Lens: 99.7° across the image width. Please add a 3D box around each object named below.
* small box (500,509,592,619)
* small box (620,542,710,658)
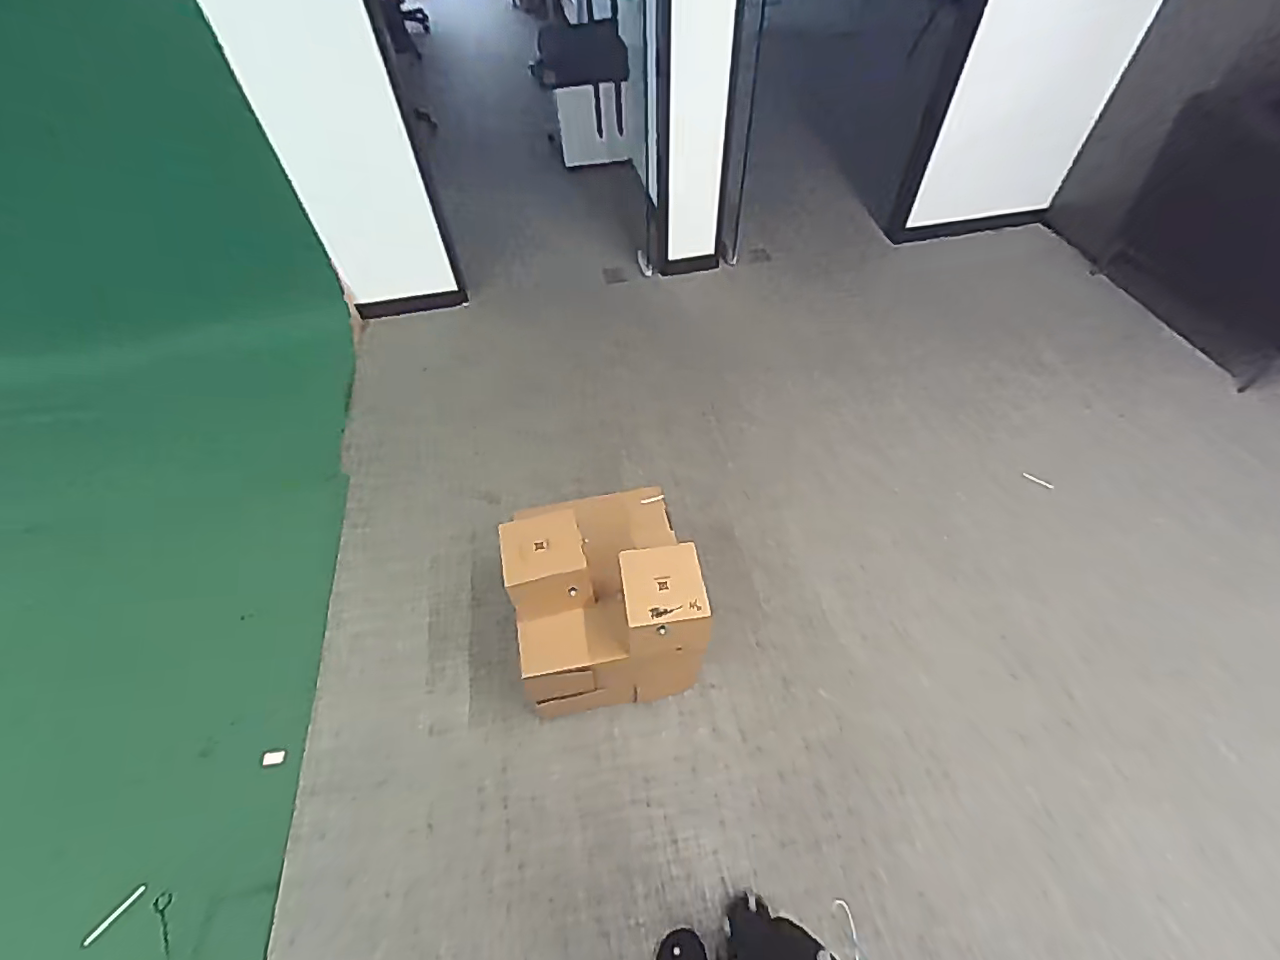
[{"bbox_3d":[-0.209,0.193,1.232,0.179,0.176,0.168,-13,50,-6],"label":"small box"},{"bbox_3d":[0.047,0.259,1.164,0.168,0.176,0.179,-7,51,-4],"label":"small box"}]
